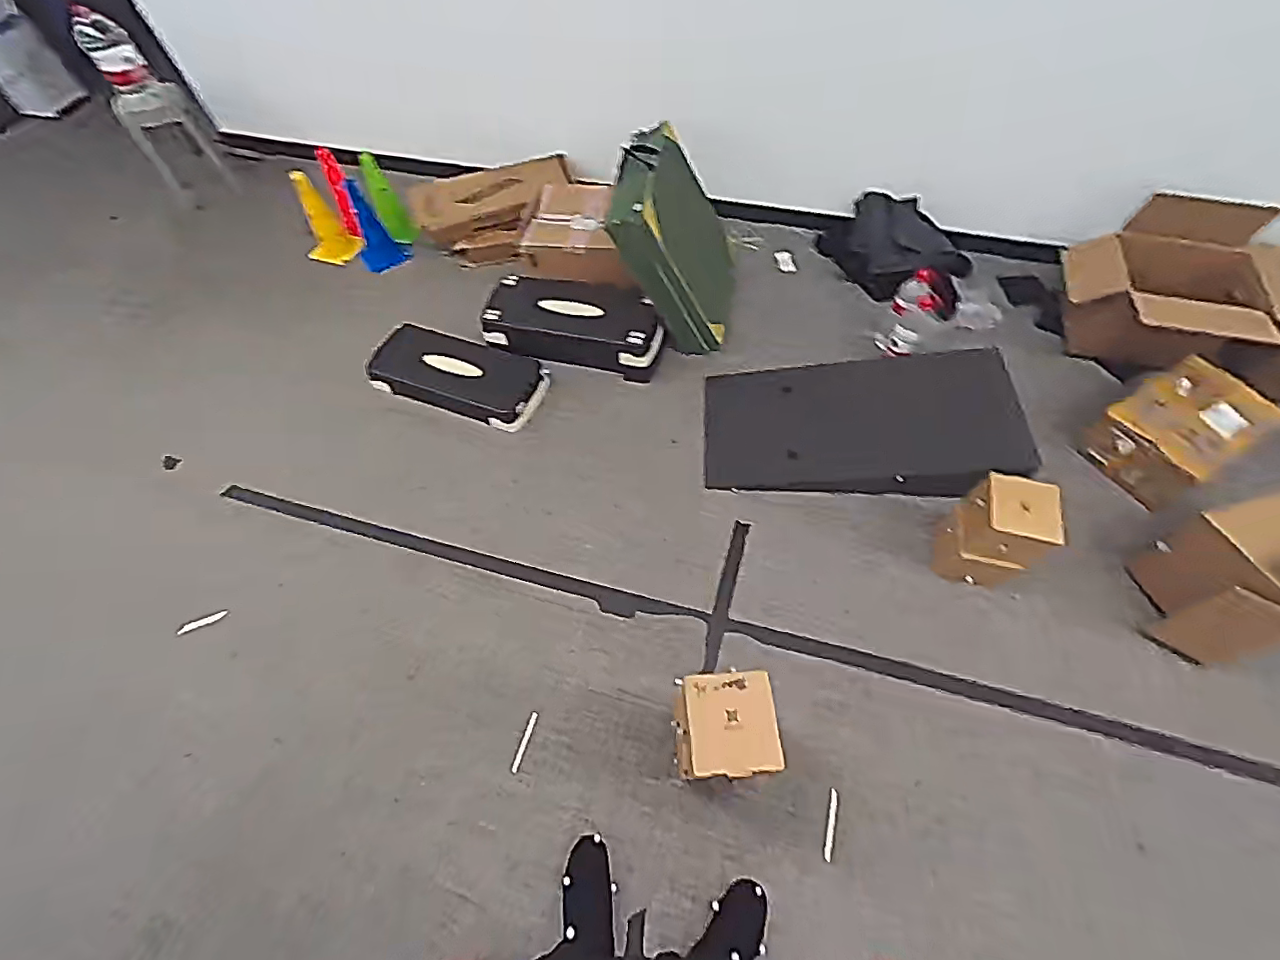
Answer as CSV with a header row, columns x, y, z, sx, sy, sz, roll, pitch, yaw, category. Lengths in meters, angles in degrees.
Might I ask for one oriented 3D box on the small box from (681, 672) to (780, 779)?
x,y,z,sx,sy,sz,roll,pitch,yaw,category
0.171,0.493,1.080,0.168,0.176,0.179,-4,60,0,small box
